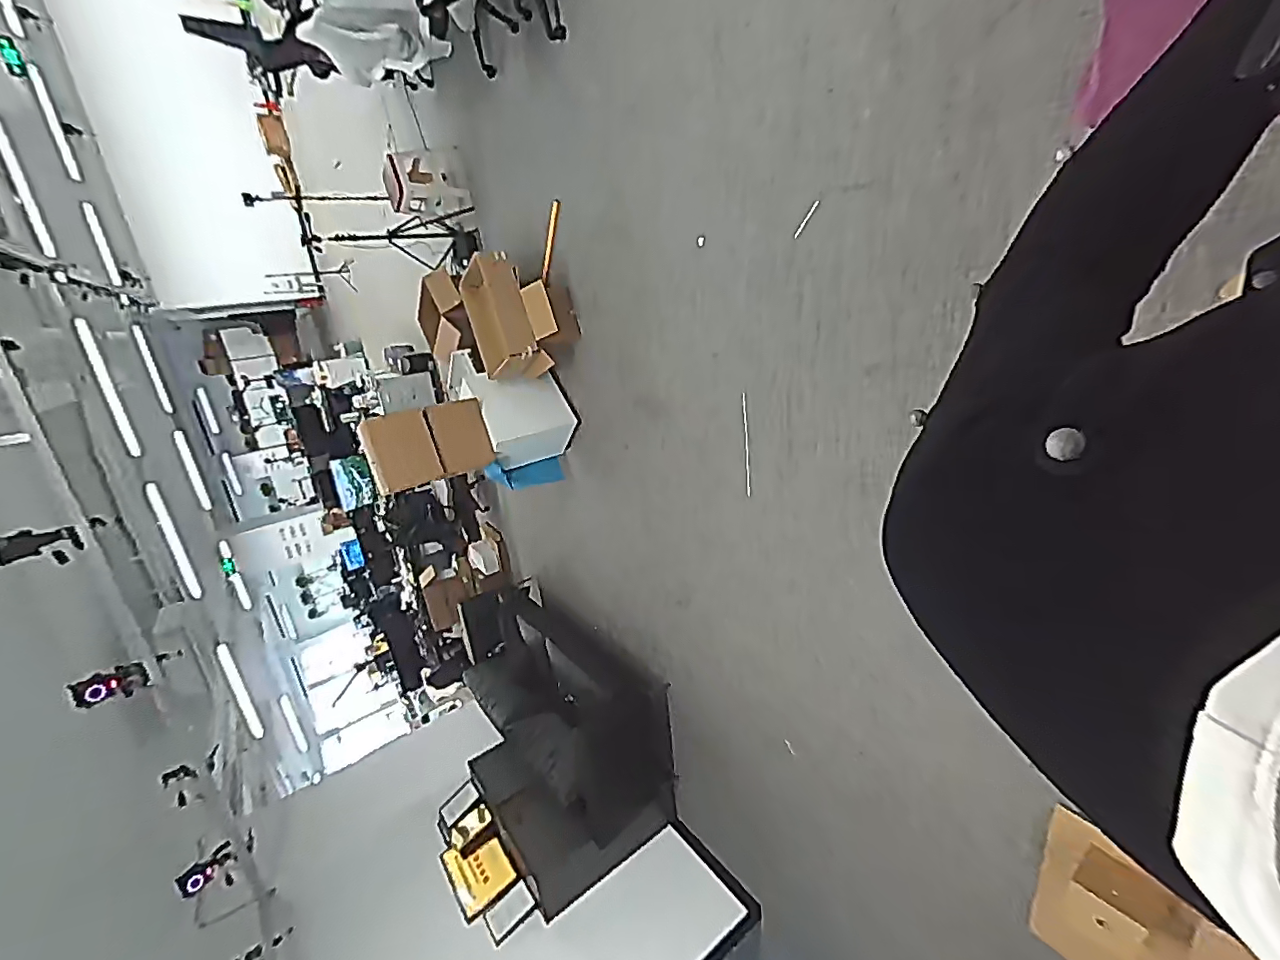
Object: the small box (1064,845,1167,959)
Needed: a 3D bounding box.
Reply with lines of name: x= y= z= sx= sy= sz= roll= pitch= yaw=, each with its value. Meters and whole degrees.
small box: x=1.368 y=1.210 z=1.554 sx=0.179 sy=0.176 sz=0.168 roll=21 pitch=123 yaw=50
